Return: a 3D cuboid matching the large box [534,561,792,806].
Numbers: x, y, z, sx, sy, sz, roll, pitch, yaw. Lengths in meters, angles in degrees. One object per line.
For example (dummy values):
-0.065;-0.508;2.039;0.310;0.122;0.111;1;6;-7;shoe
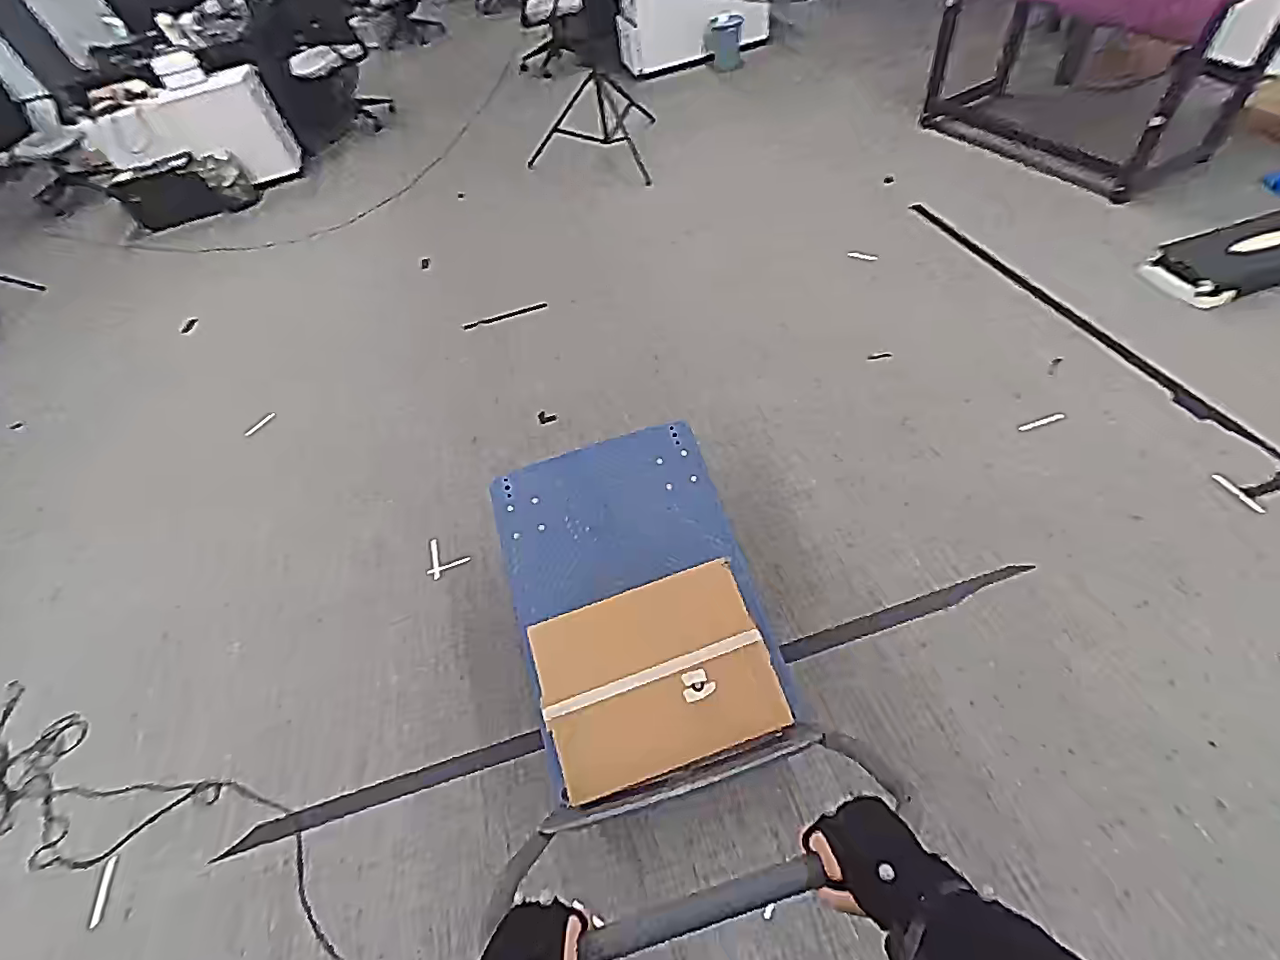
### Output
0.041;0.417;1.122;0.408;0.320;0.320;-20;67;-5;large box
